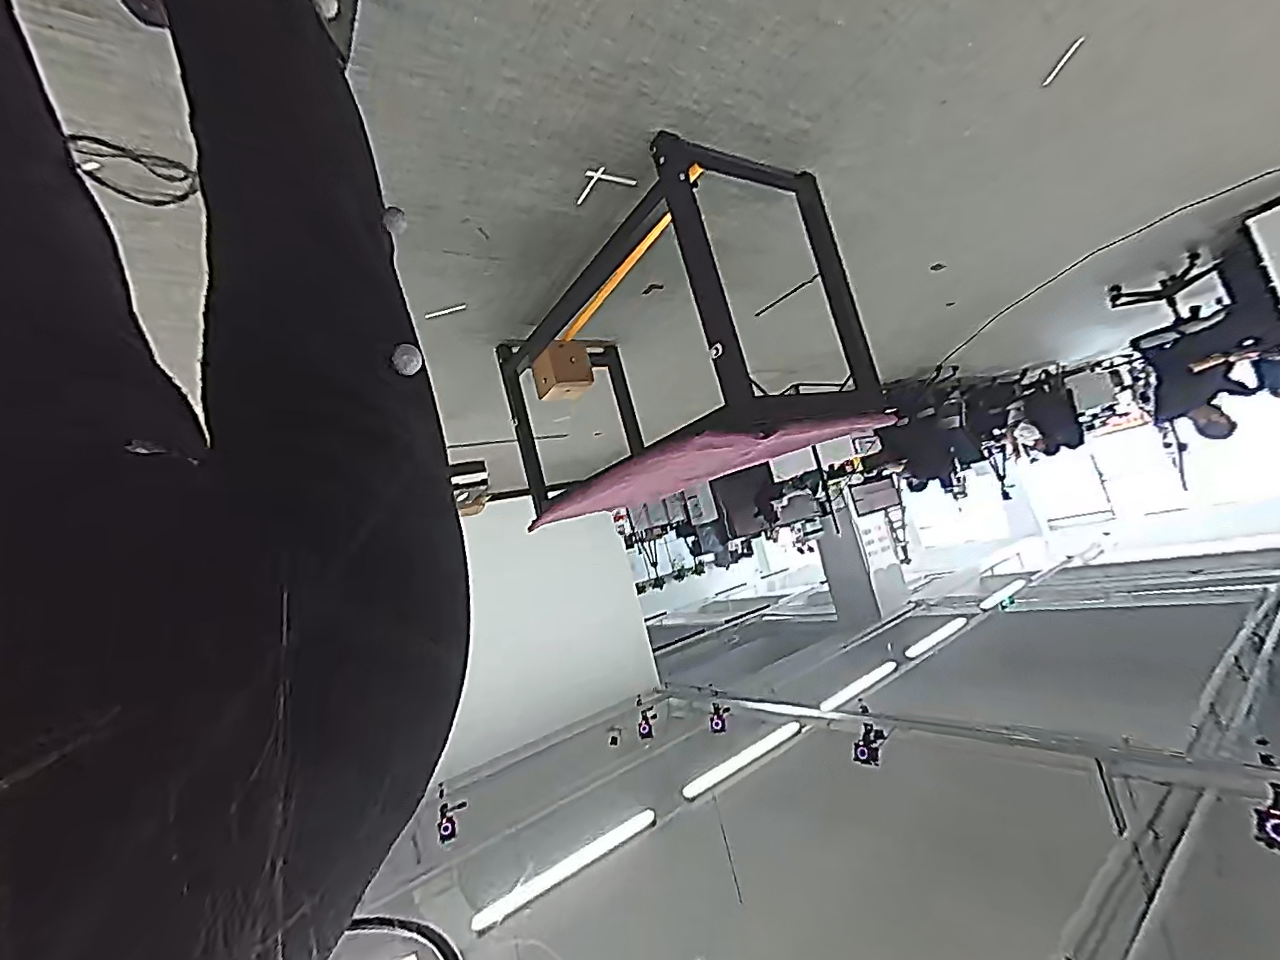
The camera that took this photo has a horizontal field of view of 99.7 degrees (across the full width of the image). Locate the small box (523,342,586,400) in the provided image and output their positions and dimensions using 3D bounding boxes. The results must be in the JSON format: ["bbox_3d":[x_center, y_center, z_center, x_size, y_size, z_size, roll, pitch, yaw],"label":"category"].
[{"bbox_3d":[-0.333,-0.419,2.071,0.168,0.176,0.179,-9,170,-35],"label":"small box"}]
